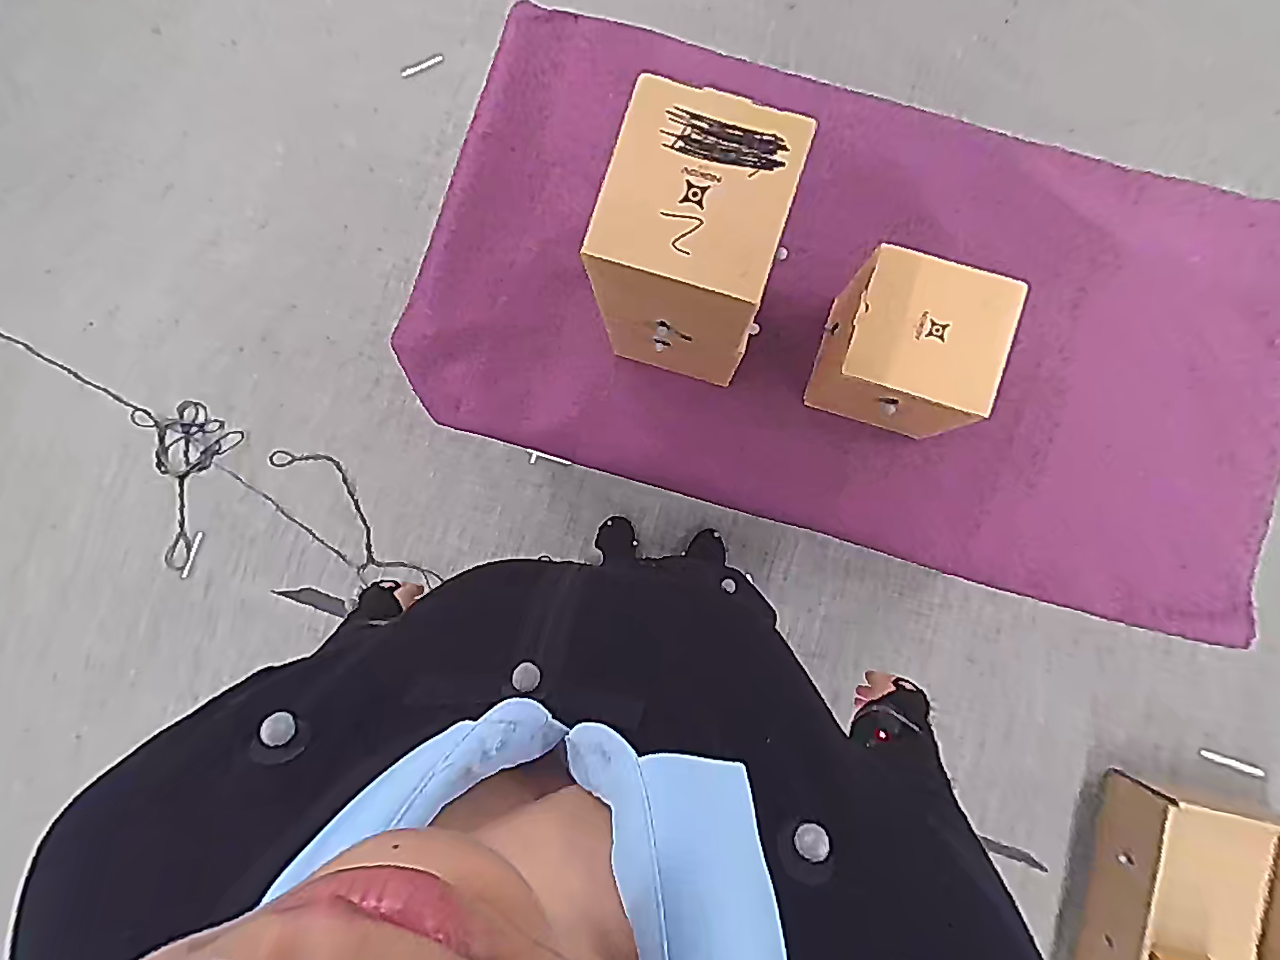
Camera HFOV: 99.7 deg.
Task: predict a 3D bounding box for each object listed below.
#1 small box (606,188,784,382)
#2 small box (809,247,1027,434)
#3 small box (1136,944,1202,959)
[{"bbox_3d":[0.069,-0.244,0.720,0.179,0.176,0.168,18,88,3],"label":"small box"},{"bbox_3d":[0.343,-0.166,0.702,0.179,0.176,0.168,18,87,5],"label":"small box"},{"bbox_3d":[1.273,1.220,1.234,0.179,0.176,0.168,14,87,3],"label":"small box"}]
